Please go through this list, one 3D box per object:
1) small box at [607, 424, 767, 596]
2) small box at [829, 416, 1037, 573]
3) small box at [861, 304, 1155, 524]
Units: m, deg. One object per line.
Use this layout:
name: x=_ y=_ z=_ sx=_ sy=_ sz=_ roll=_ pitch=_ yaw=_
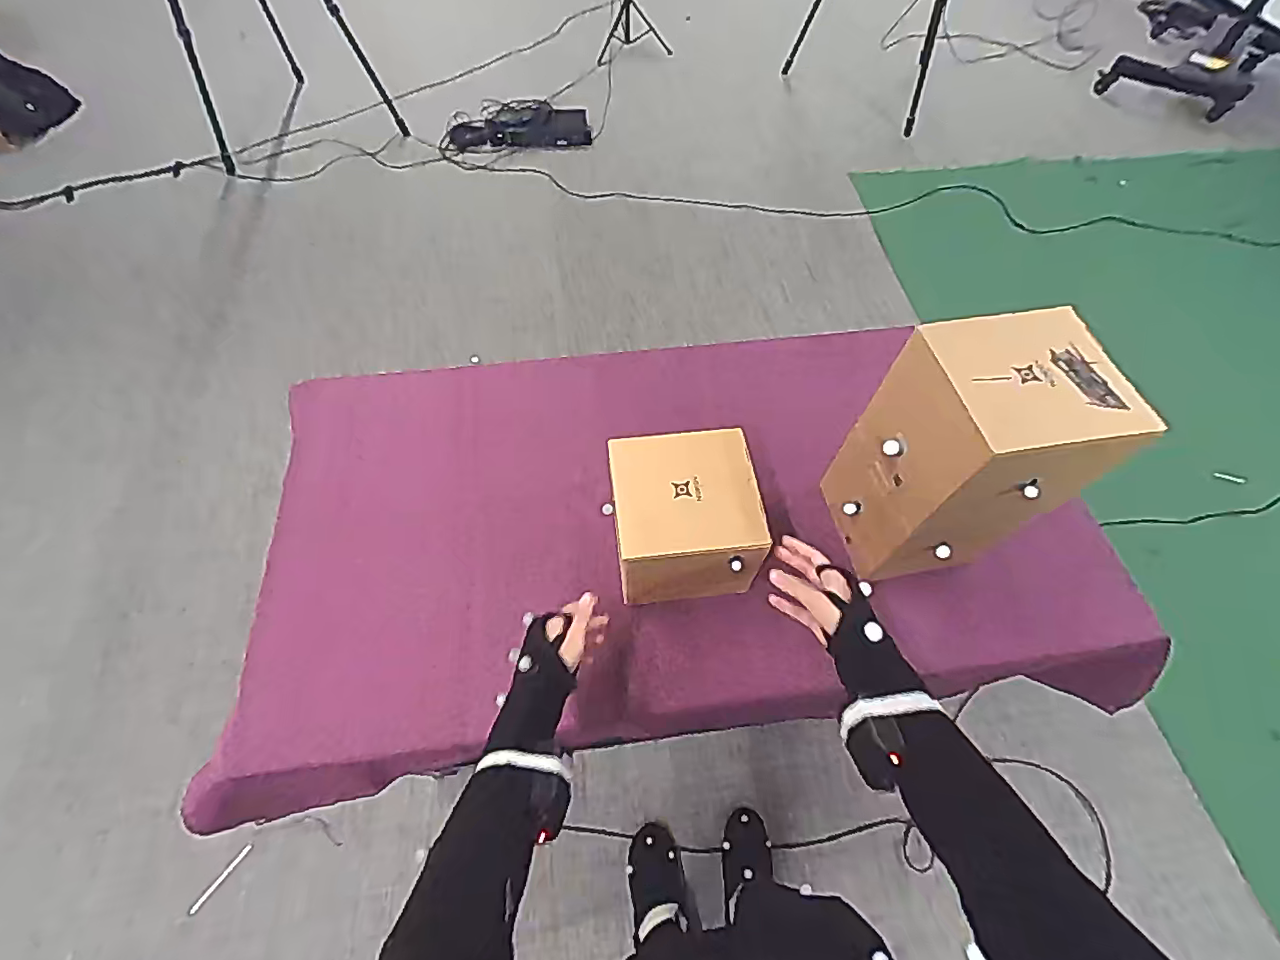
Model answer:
small box: x=0.052 y=0.046 z=0.722 sx=0.179 sy=0.176 sz=0.168 roll=-5 pitch=59 yaw=-4
small box: x=0.377 y=0.015 z=0.742 sx=0.179 sy=0.176 sz=0.168 roll=-9 pitch=60 yaw=-5
small box: x=0.379 y=-0.067 z=0.598 sx=0.179 sy=0.176 sz=0.168 roll=-8 pitch=59 yaw=-5
